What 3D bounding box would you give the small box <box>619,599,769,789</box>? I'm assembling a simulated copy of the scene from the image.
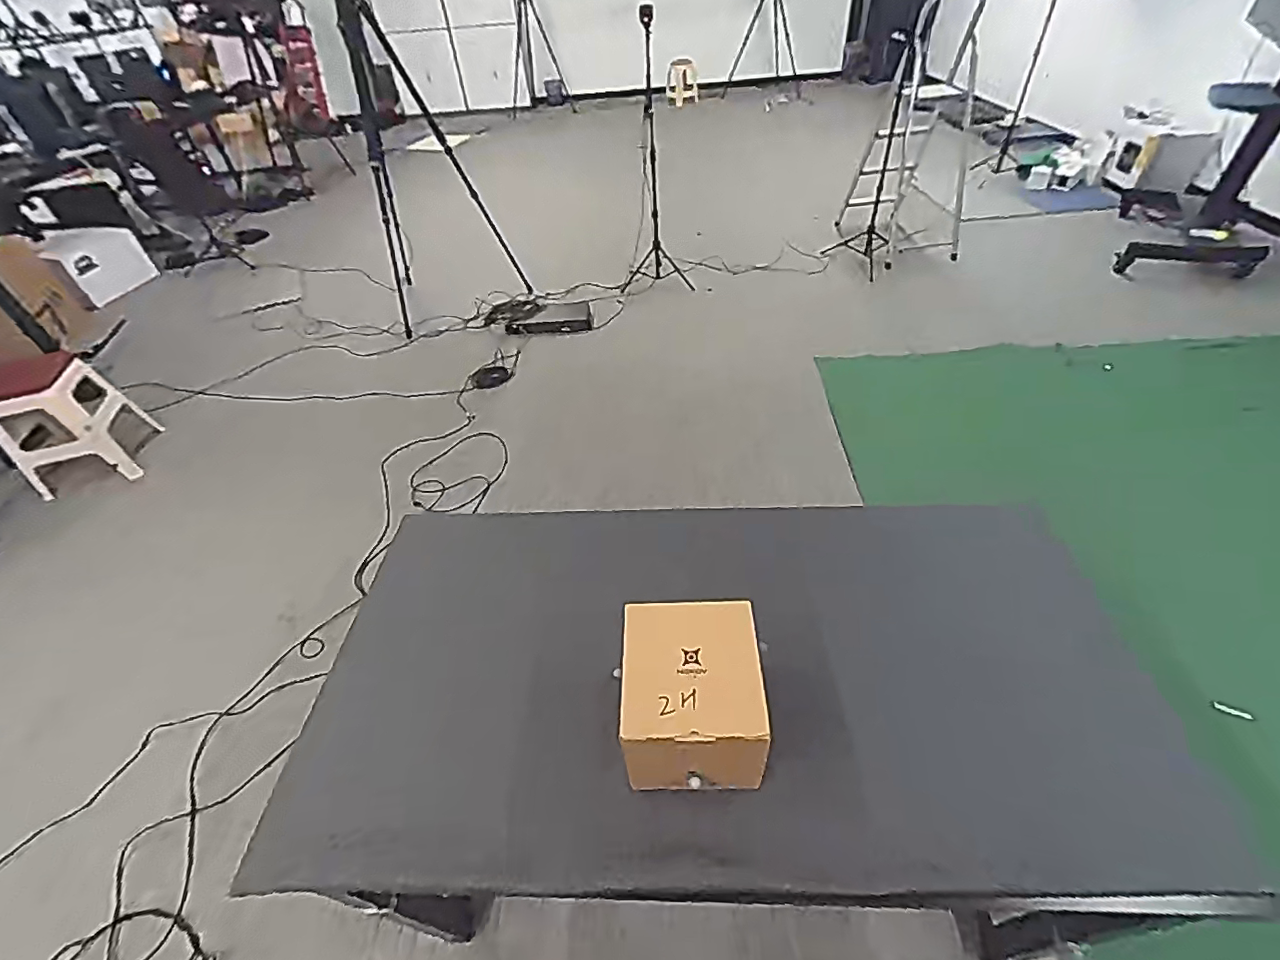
[{"bbox_3d":[0.065,0.274,0.697,0.168,0.176,0.179,-3,43,4],"label":"small box"}]
